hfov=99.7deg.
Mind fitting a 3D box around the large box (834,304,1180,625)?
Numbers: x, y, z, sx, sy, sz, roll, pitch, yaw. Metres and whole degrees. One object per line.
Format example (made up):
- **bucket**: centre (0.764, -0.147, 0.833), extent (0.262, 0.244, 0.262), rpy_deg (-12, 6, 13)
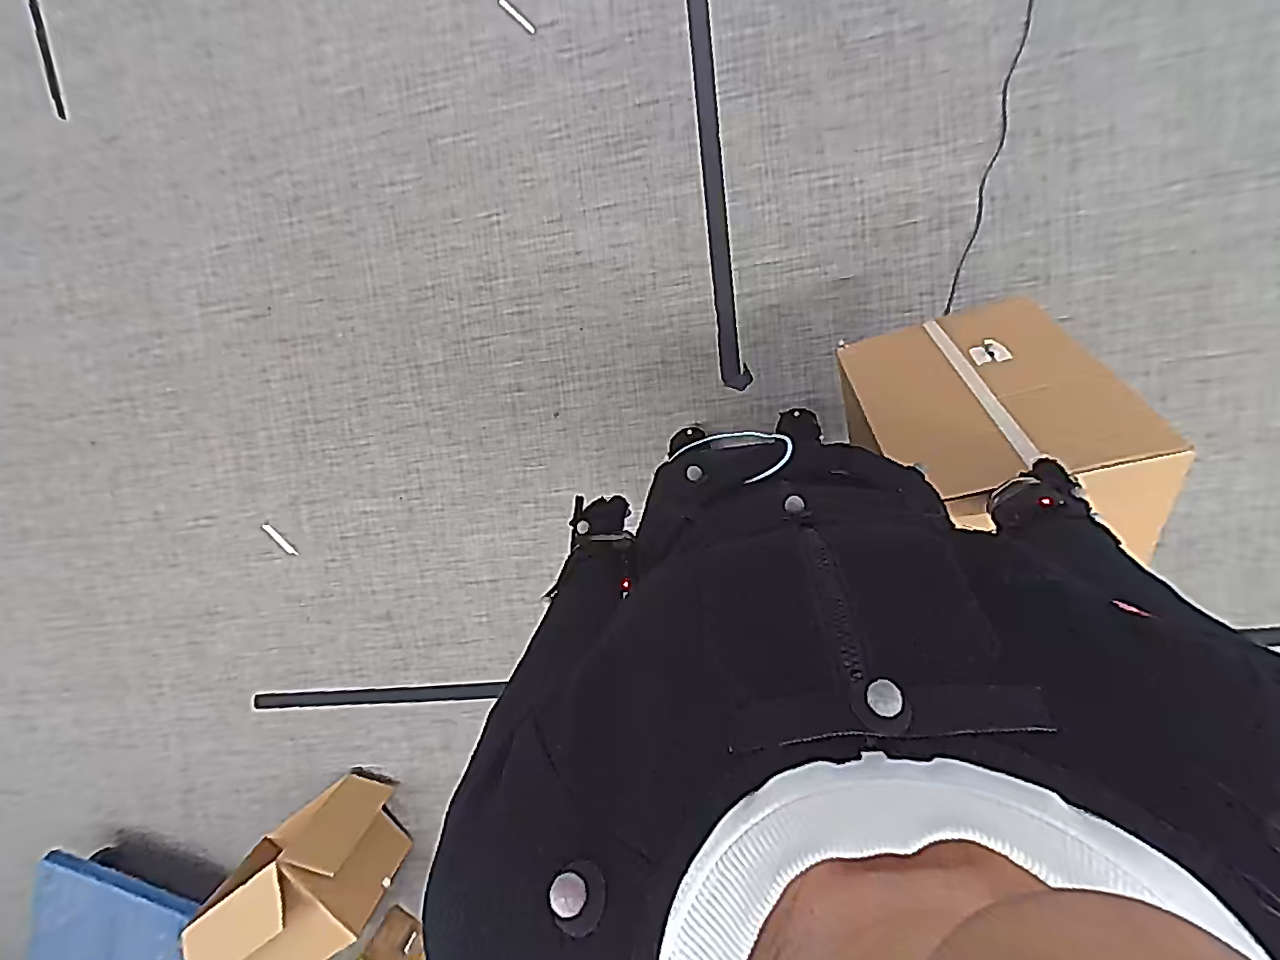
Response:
- **large box**: centre (0.551, -0.029, 0.910), extent (0.320, 0.408, 0.320), rpy_deg (-14, 130, 13)
